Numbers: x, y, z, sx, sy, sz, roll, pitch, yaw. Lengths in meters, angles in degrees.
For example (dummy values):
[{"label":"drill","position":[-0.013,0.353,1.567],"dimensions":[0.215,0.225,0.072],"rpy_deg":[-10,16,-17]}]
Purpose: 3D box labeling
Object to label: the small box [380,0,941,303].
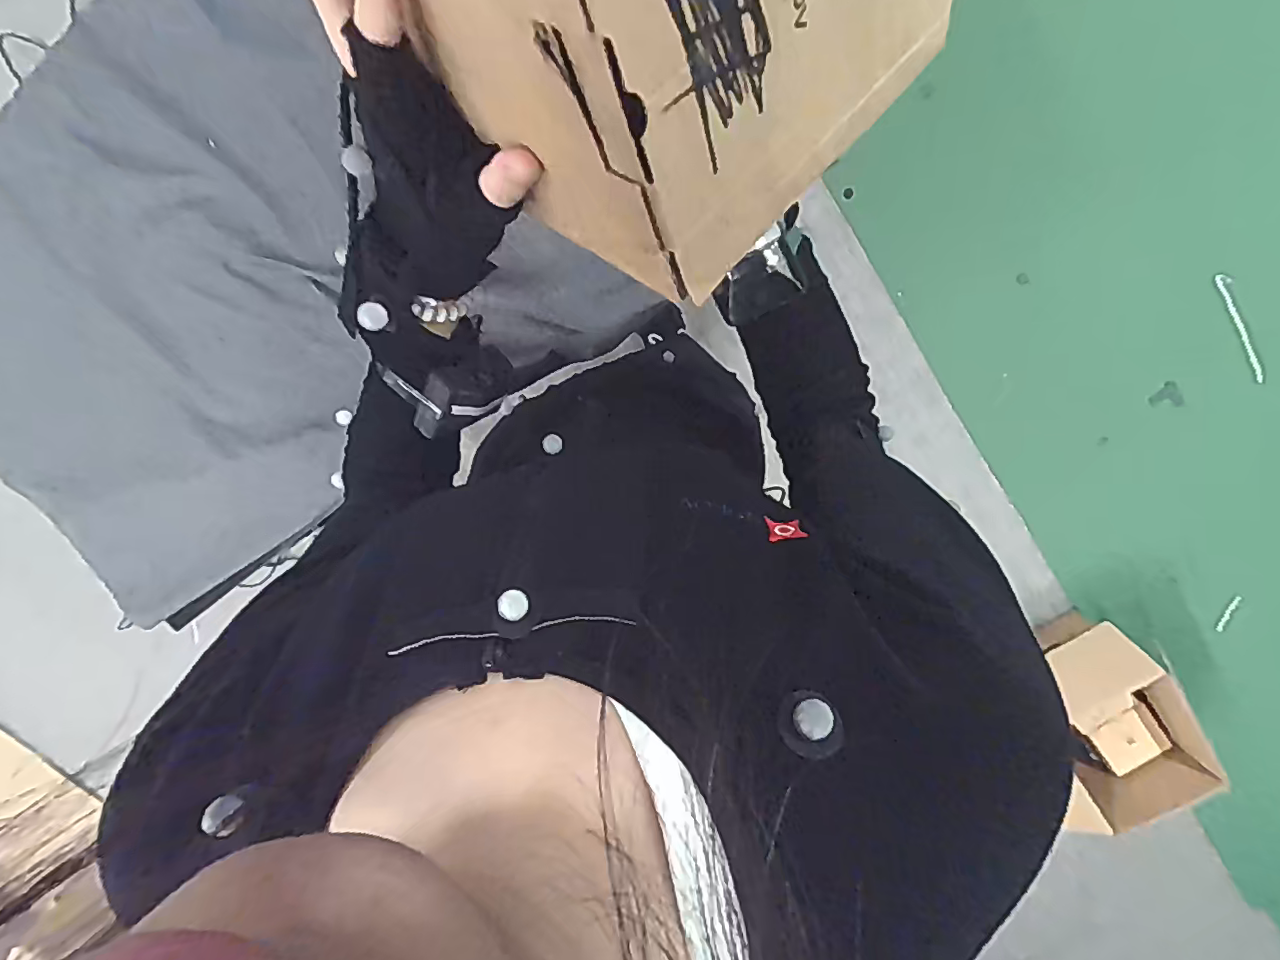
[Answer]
[{"label":"small box","position":[-0.001,-0.214,0.215],"dimensions":[0.179,0.168,0.176],"rpy_deg":[-47,61,-5]}]
